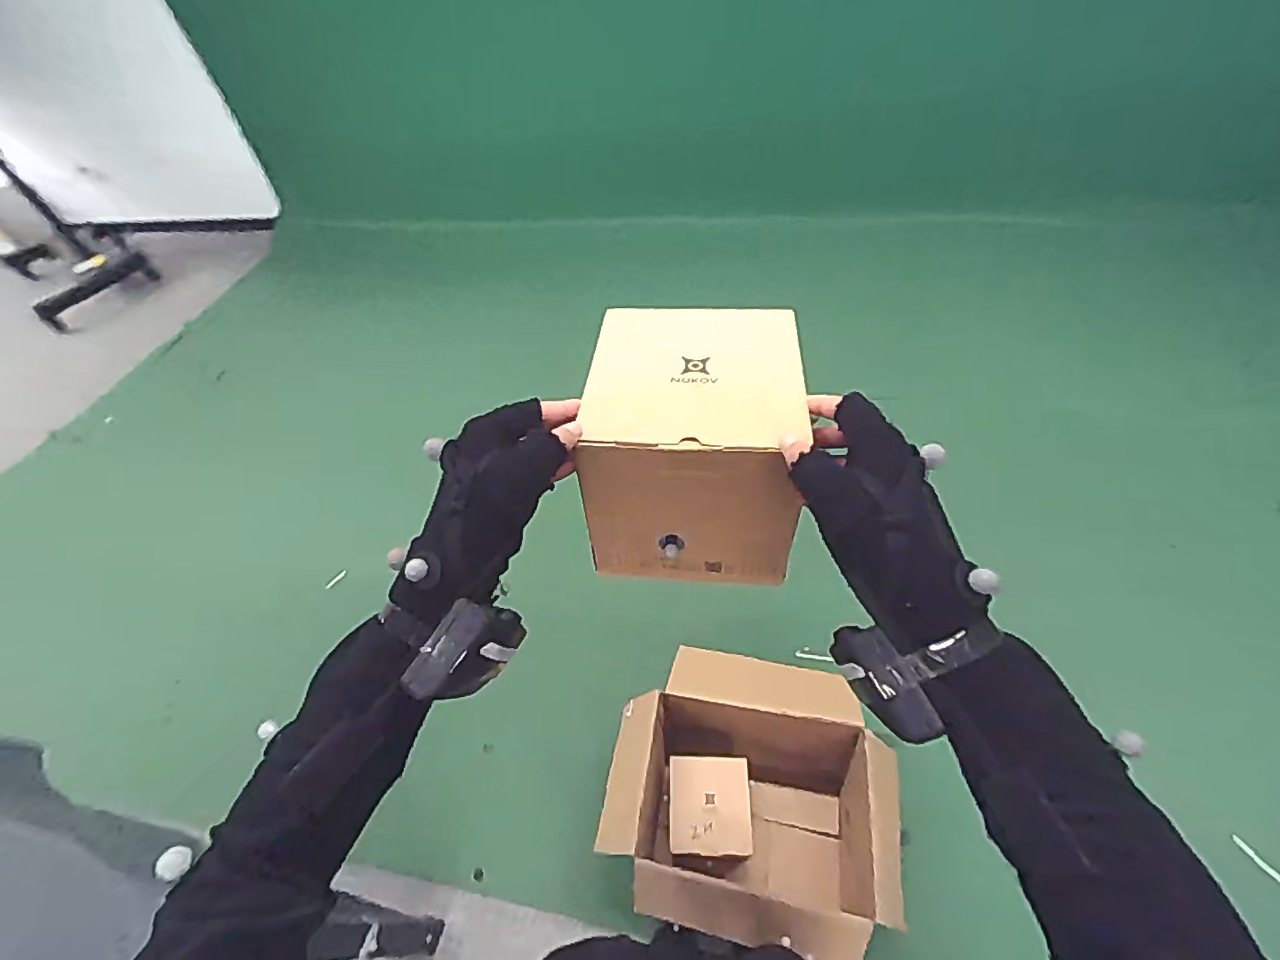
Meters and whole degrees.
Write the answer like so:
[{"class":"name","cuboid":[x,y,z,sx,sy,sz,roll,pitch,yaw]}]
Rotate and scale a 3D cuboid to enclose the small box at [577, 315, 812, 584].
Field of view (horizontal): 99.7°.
[{"class":"small box","cuboid":[0.047,-0.029,0.486,0.168,0.176,0.179,1,48,6]}]
